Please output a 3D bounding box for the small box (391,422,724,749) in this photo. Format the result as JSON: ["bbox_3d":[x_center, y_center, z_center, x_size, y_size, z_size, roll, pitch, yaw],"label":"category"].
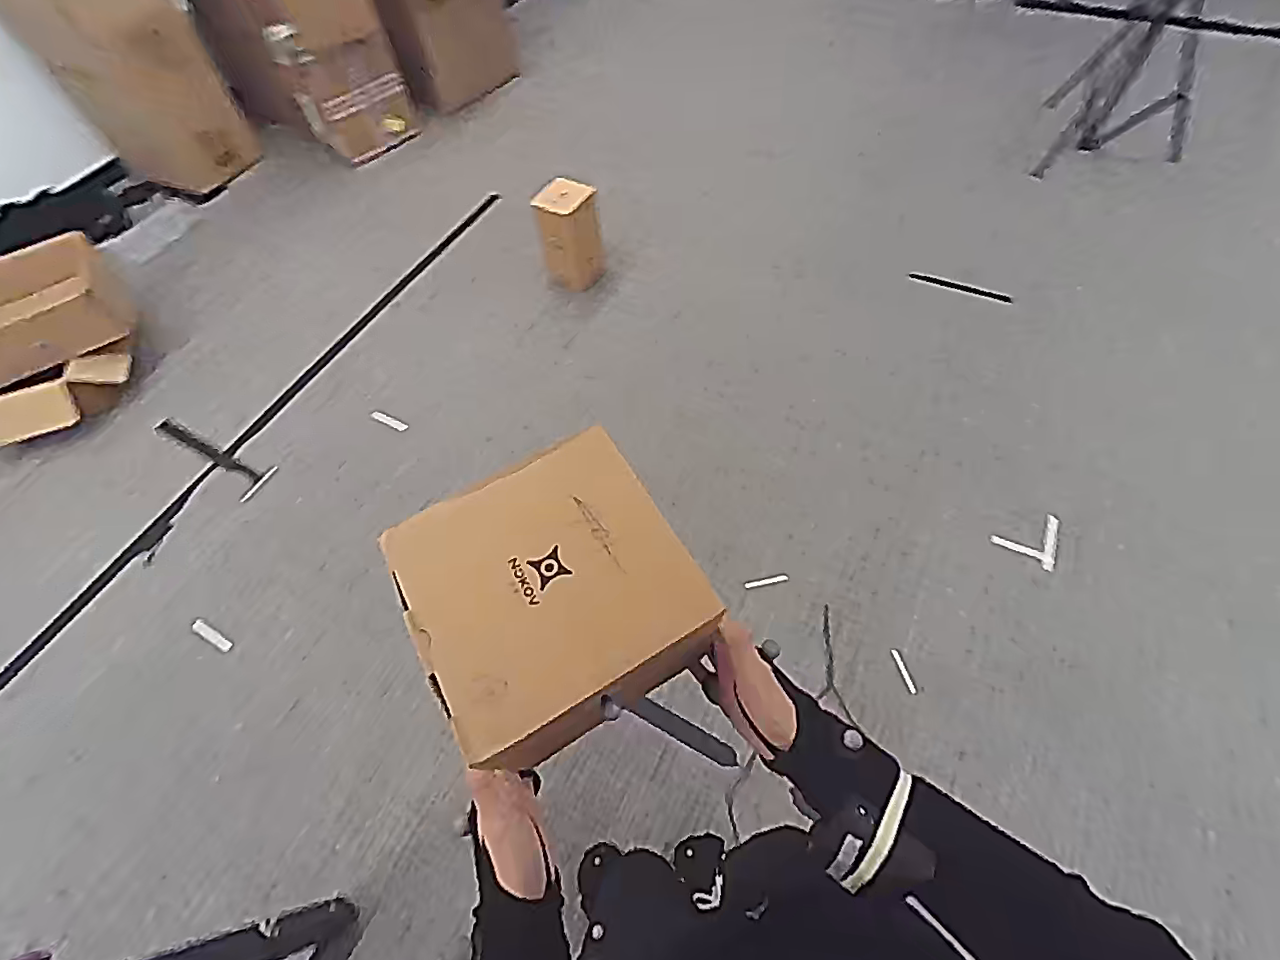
[{"bbox_3d":[-0.056,0.092,0.426,0.179,0.176,0.168,-27,66,-13],"label":"small box"}]

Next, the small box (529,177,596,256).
[{"bbox_3d":[-0.275,-0.958,1.970,0.168,0.176,0.179,27,66,19],"label":"small box"}]
